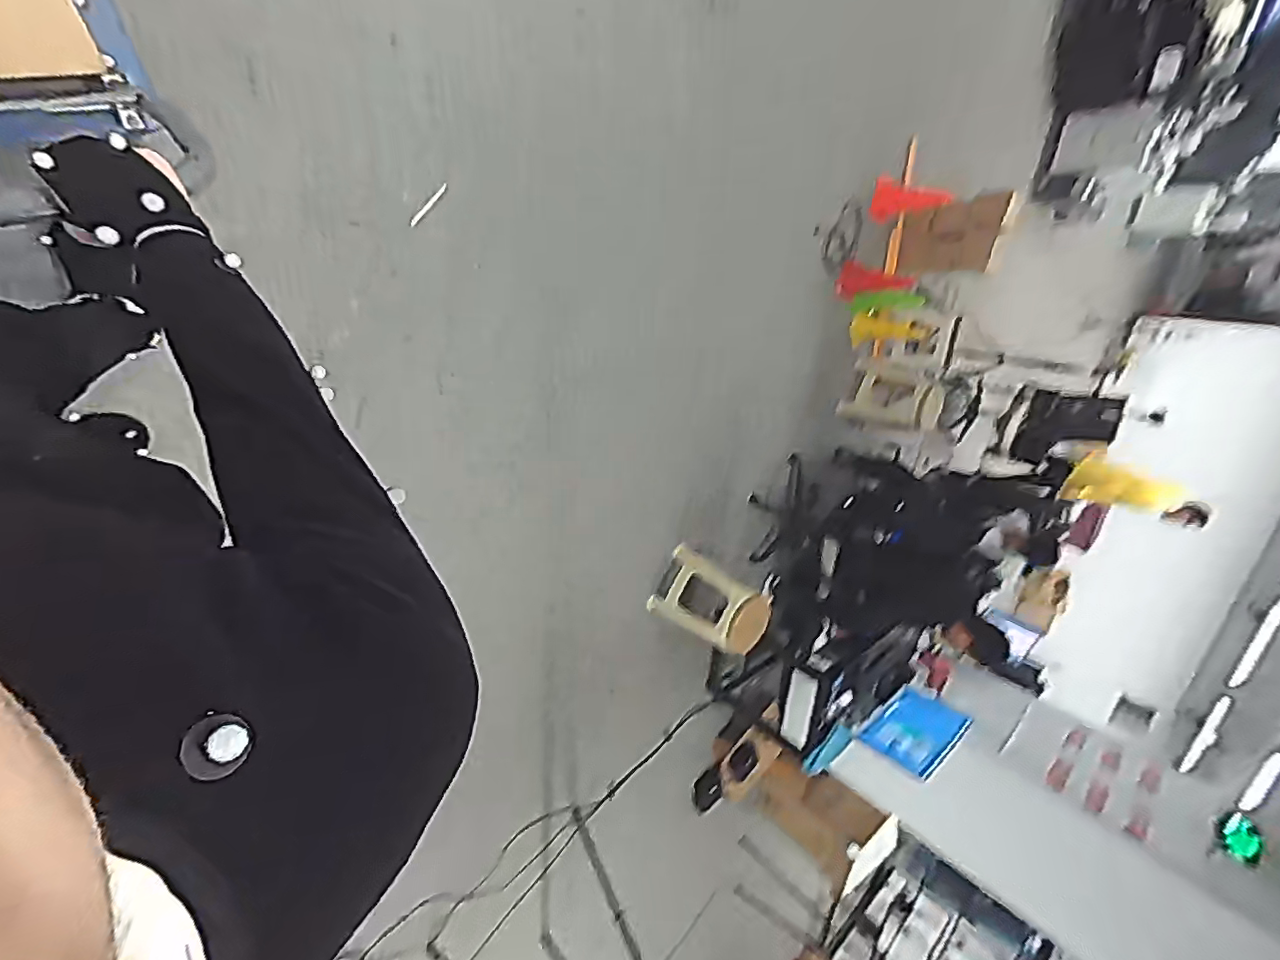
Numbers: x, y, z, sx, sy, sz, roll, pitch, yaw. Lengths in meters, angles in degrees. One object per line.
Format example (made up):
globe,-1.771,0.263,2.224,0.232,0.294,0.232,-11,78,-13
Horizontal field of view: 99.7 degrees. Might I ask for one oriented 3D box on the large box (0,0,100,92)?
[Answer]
large box,-0.959,-0.703,0.636,0.320,0.320,0.408,-32,134,-31
